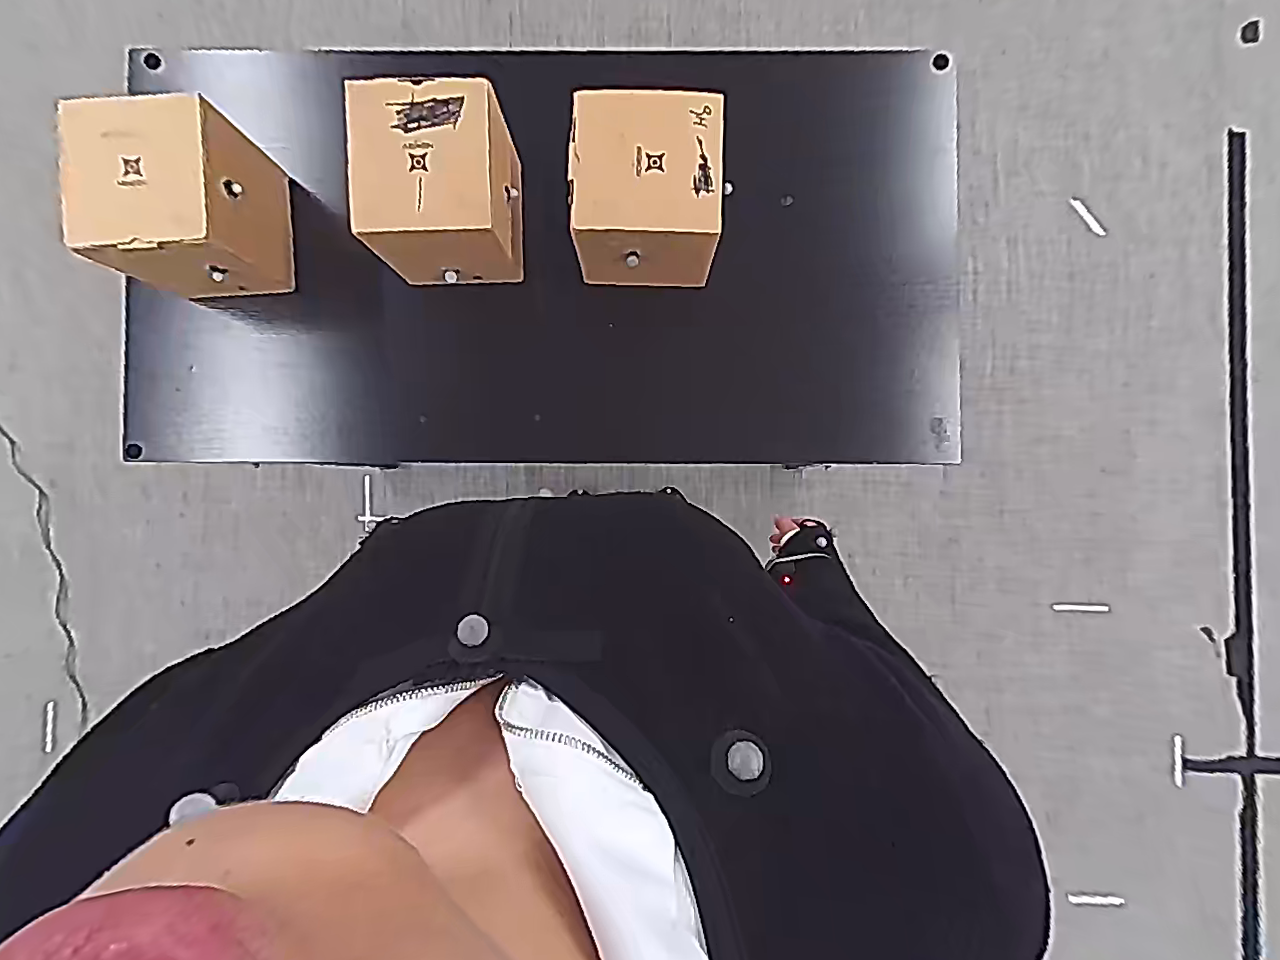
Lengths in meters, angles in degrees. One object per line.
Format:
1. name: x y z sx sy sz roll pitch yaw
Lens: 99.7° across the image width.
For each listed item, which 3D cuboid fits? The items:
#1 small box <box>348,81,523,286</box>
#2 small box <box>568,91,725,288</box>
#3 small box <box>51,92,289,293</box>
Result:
1. small box: -0.250 -0.367 0.695 0.168 0.176 0.179 -1 90 0
2. small box: 0.009 -0.359 0.697 0.179 0.176 0.168 2 89 1
3. small box: -0.583 -0.351 0.694 0.168 0.176 0.179 -4 88 -2
